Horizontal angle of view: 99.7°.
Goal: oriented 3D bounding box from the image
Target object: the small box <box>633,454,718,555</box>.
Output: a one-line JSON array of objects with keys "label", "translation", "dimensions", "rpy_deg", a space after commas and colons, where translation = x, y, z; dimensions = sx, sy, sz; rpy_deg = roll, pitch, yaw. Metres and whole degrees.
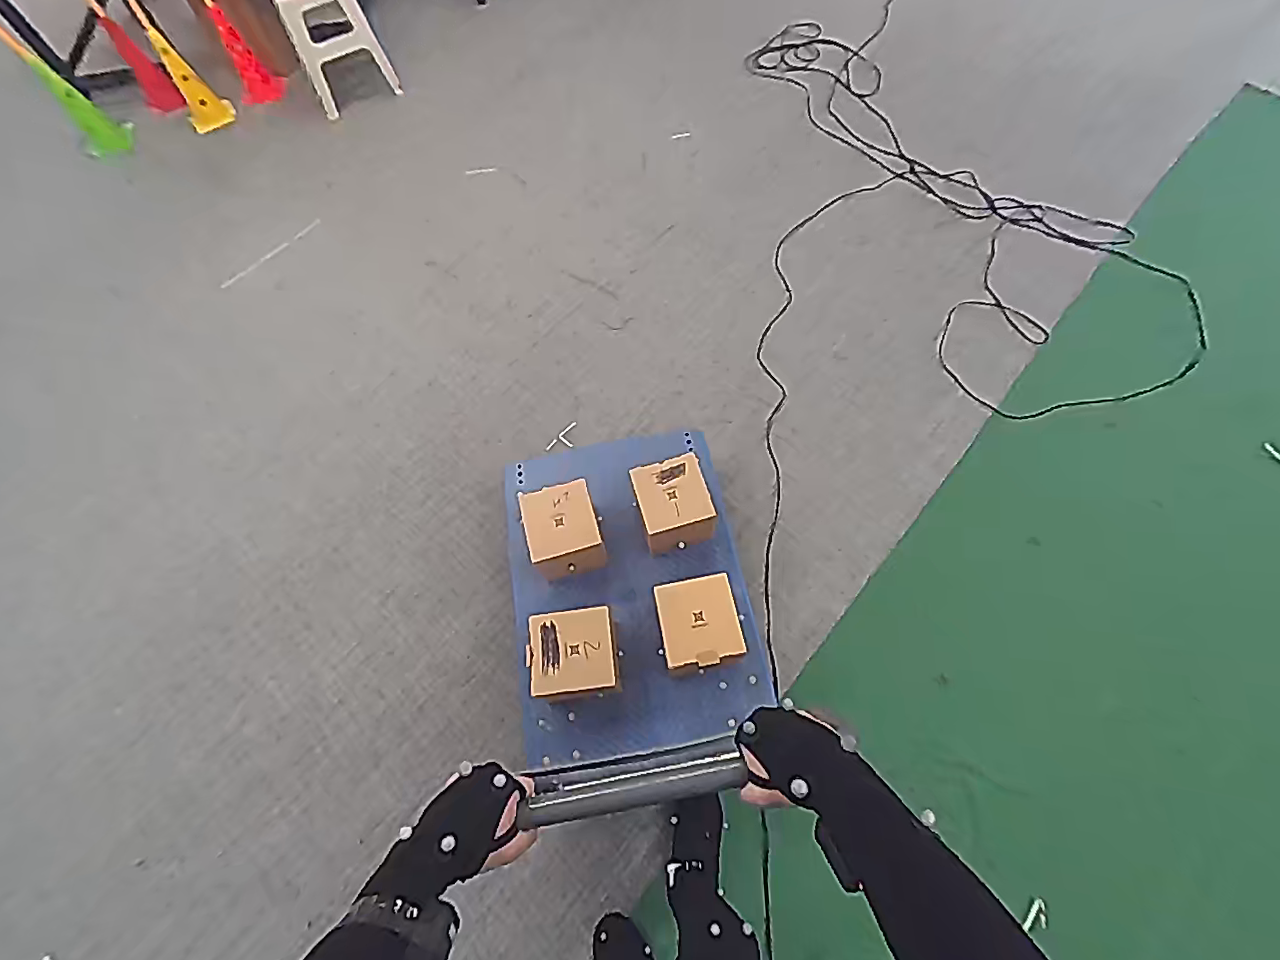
[{"label": "small box", "translation": [0.083, 0.065, 1.338], "dimensions": [0.168, 0.176, 0.179], "rpy_deg": [-15, 66, -3]}]

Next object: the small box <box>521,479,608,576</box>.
[{"label": "small box", "translation": [-0.181, 0.125, 1.325], "dimensions": [0.168, 0.176, 0.179], "rpy_deg": [-15, 65, -4]}]

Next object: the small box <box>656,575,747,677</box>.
[{"label": "small box", "translation": [0.130, 0.331, 1.213], "dimensions": [0.168, 0.176, 0.179], "rpy_deg": [-10, 65, -2]}]
